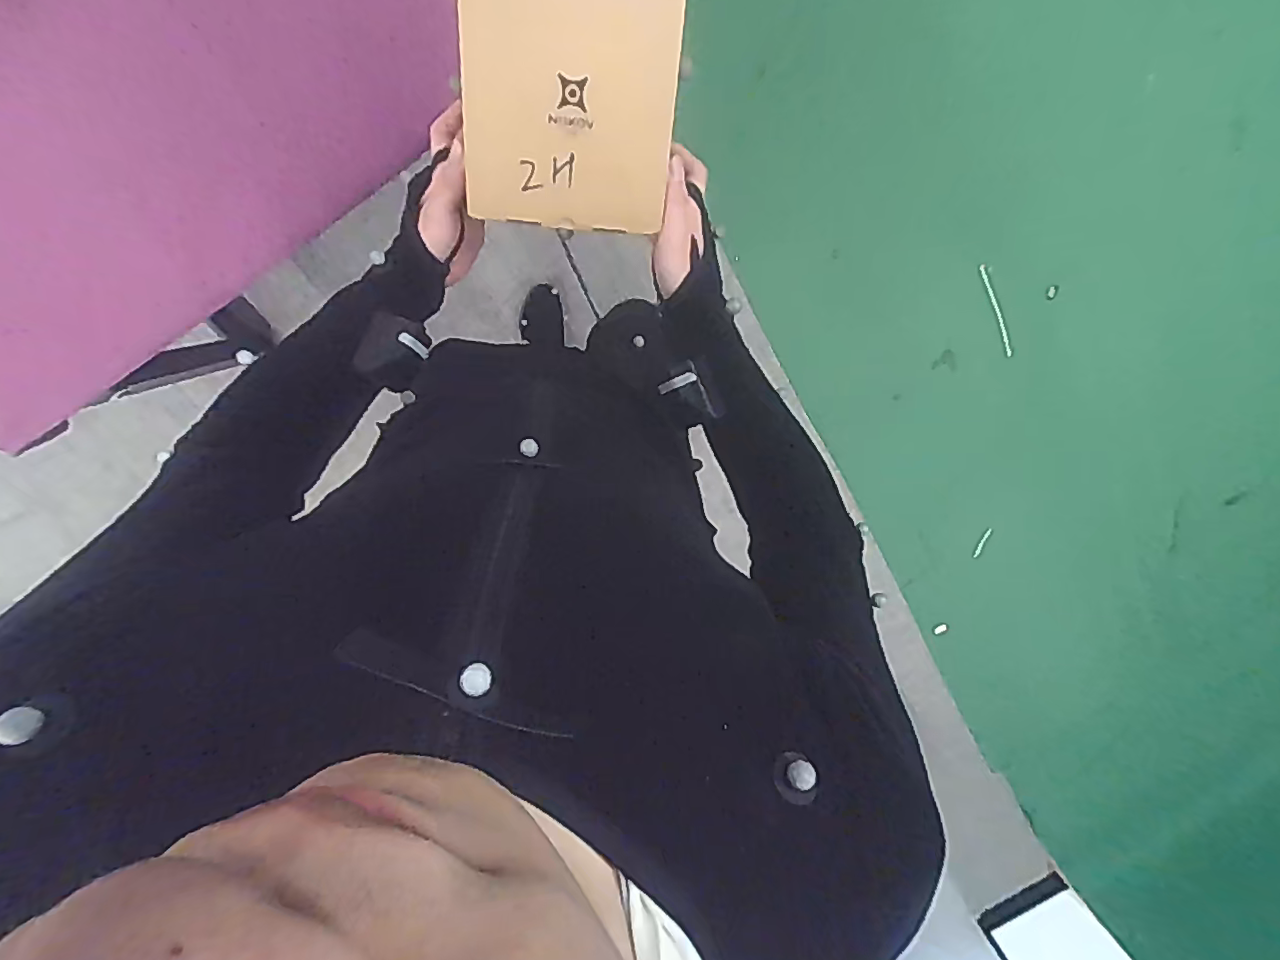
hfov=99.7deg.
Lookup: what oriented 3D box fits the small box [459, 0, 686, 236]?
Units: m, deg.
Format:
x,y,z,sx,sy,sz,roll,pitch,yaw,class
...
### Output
x,y,z,sx,sy,sz,roll,pitch,yaw,class
-0.063,-0.329,0.490,0.168,0.176,0.179,2,118,-7,small box
